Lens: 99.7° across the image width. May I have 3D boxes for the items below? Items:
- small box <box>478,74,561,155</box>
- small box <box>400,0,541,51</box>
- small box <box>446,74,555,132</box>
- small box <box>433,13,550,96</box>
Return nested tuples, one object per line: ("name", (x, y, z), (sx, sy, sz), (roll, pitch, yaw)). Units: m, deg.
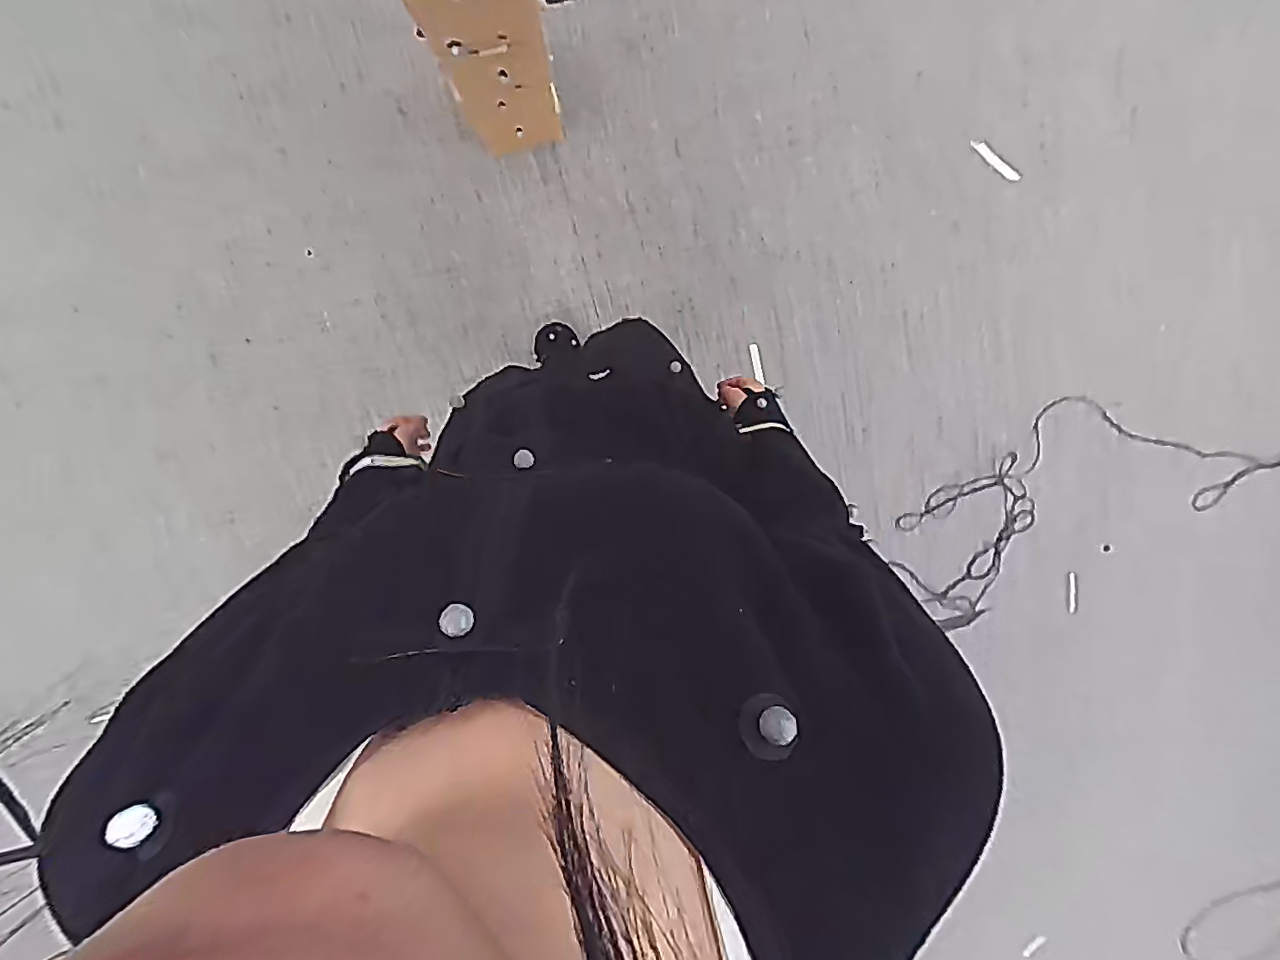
("small box", (-0.275, -0.831, 1.169), (0.179, 0.176, 0.168), (-14, 107, -1))
("small box", (-0.233, -0.696, 0.698), (0.168, 0.176, 0.179), (-13, 106, -1))
("small box", (-0.267, -0.780, 1.013), (0.179, 0.176, 0.168), (-12, 108, -2))
("small box", (-0.244, -0.740, 0.856), (0.168, 0.176, 0.179), (-12, 108, -1))
